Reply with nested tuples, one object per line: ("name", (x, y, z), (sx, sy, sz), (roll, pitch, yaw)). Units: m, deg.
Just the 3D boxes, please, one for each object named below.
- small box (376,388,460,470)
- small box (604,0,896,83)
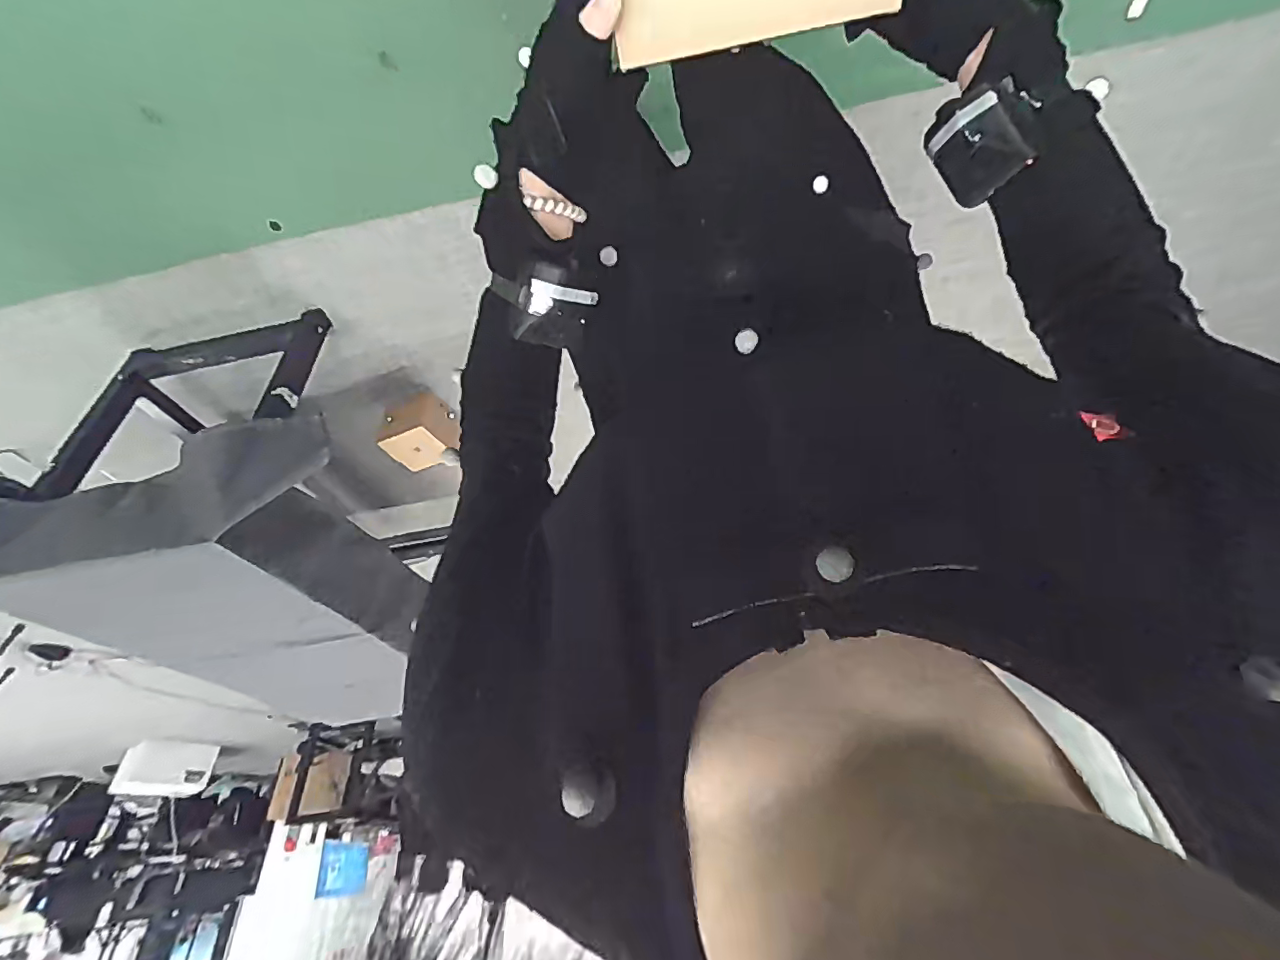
("small box", (-0.698, -0.163, 1.722), (0.179, 0.176, 0.168), (-16, 143, 16))
("small box", (0.056, -0.371, 0.317), (0.168, 0.176, 0.179), (-6, 136, 9))
